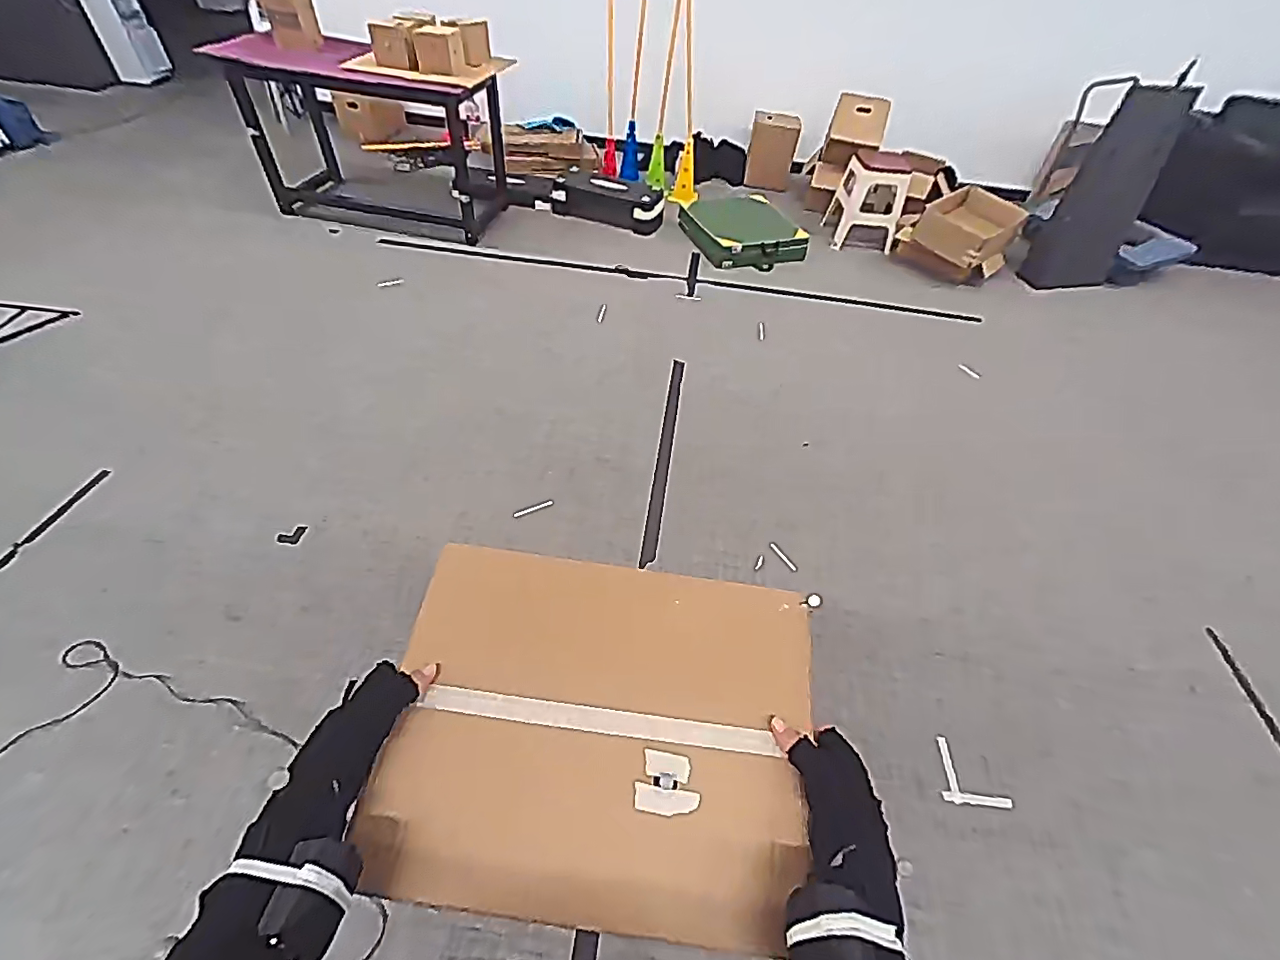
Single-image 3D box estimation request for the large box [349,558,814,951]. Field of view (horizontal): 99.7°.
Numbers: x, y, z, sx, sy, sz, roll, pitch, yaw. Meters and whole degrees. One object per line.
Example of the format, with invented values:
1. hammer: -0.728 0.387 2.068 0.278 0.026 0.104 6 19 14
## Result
1. large box: -0.045 0.315 0.655 0.408 0.320 0.320 8 61 0
